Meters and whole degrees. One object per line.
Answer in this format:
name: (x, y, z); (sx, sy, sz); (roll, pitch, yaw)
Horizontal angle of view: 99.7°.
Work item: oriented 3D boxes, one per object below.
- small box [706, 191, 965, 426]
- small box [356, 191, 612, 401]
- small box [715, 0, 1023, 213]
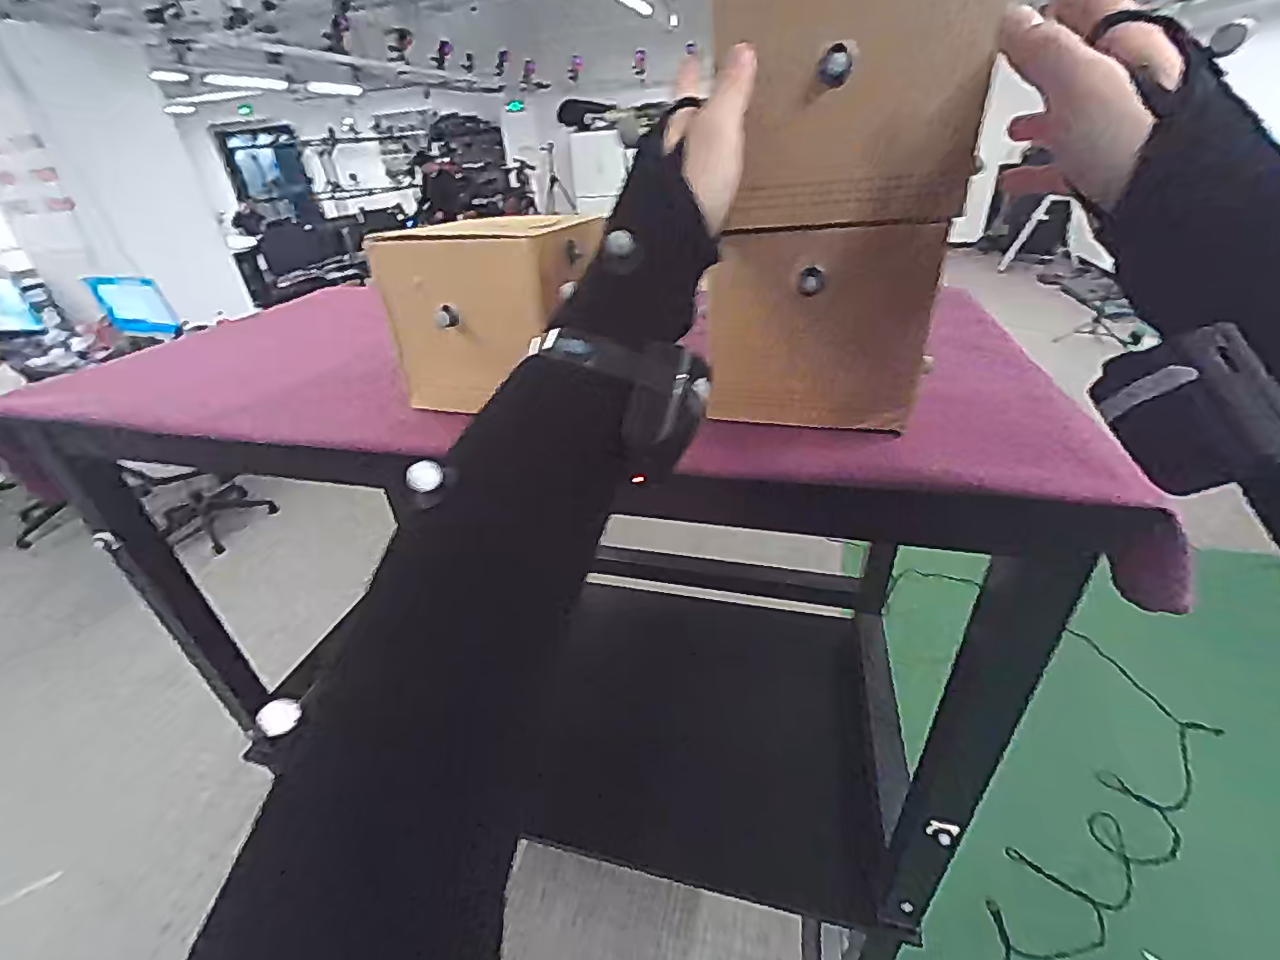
small box: (0.161, -0.159, 0.478); (0.179, 0.176, 0.168); (9, 34, 18)
small box: (-0.139, -0.190, 0.549); (0.179, 0.176, 0.168); (9, 34, 17)
small box: (0.152, -0.297, 0.391); (0.179, 0.176, 0.168); (4, 33, 14)
